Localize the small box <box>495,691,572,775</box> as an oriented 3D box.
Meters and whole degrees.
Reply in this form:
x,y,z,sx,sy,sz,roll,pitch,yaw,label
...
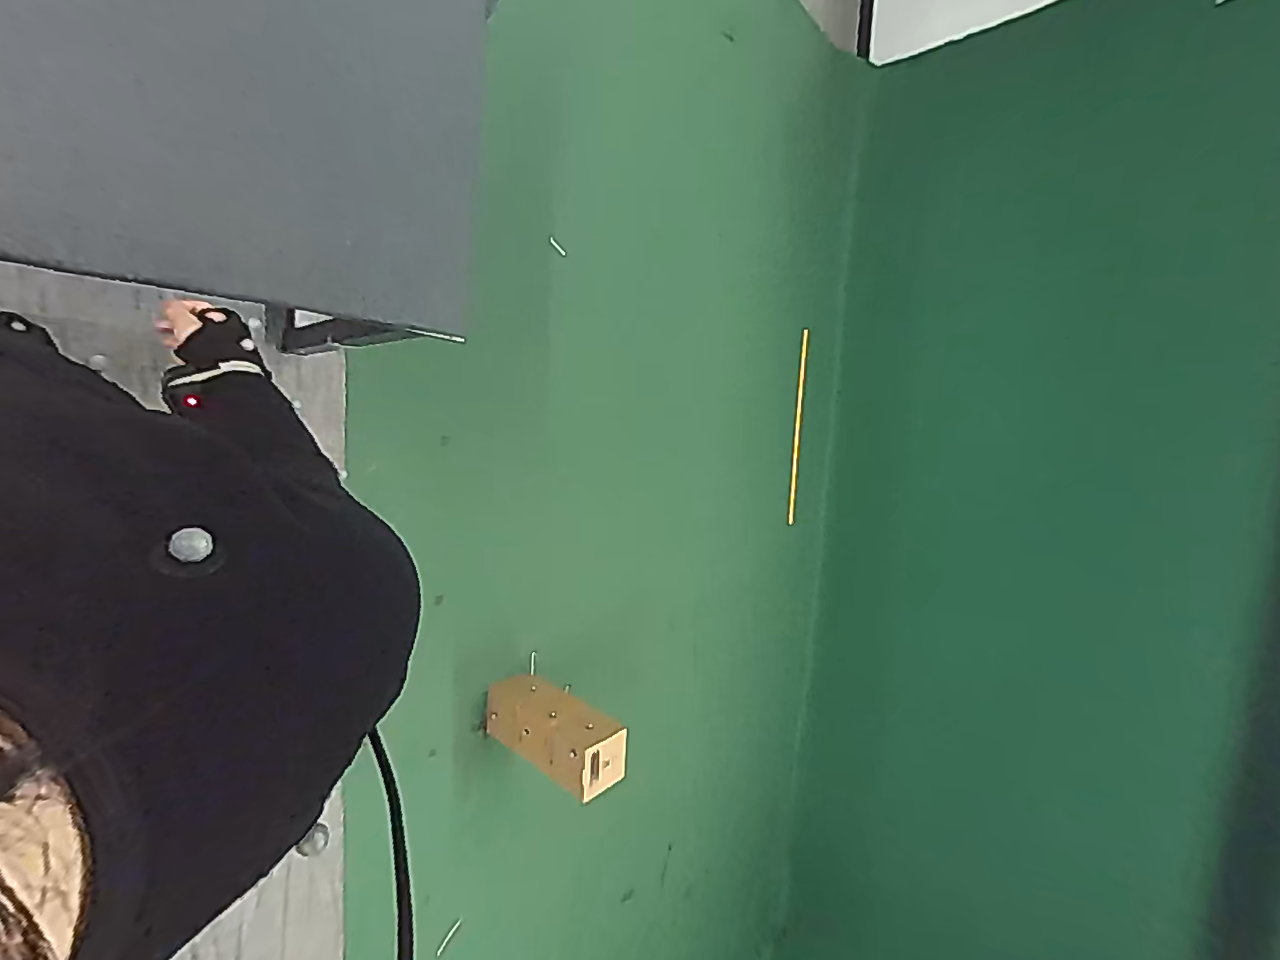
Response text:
x,y,z,sx,sy,sz,roll,pitch,yaw,label
-0.346,0.813,1.759,0.179,0.176,0.168,-3,98,-51,small box

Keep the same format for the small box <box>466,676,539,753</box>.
x,y,z,sx,sy,sz,roll,pitch,yaw,label
-0.473,0.795,1.859,0.179,0.176,0.168,-1,96,-51,small box
